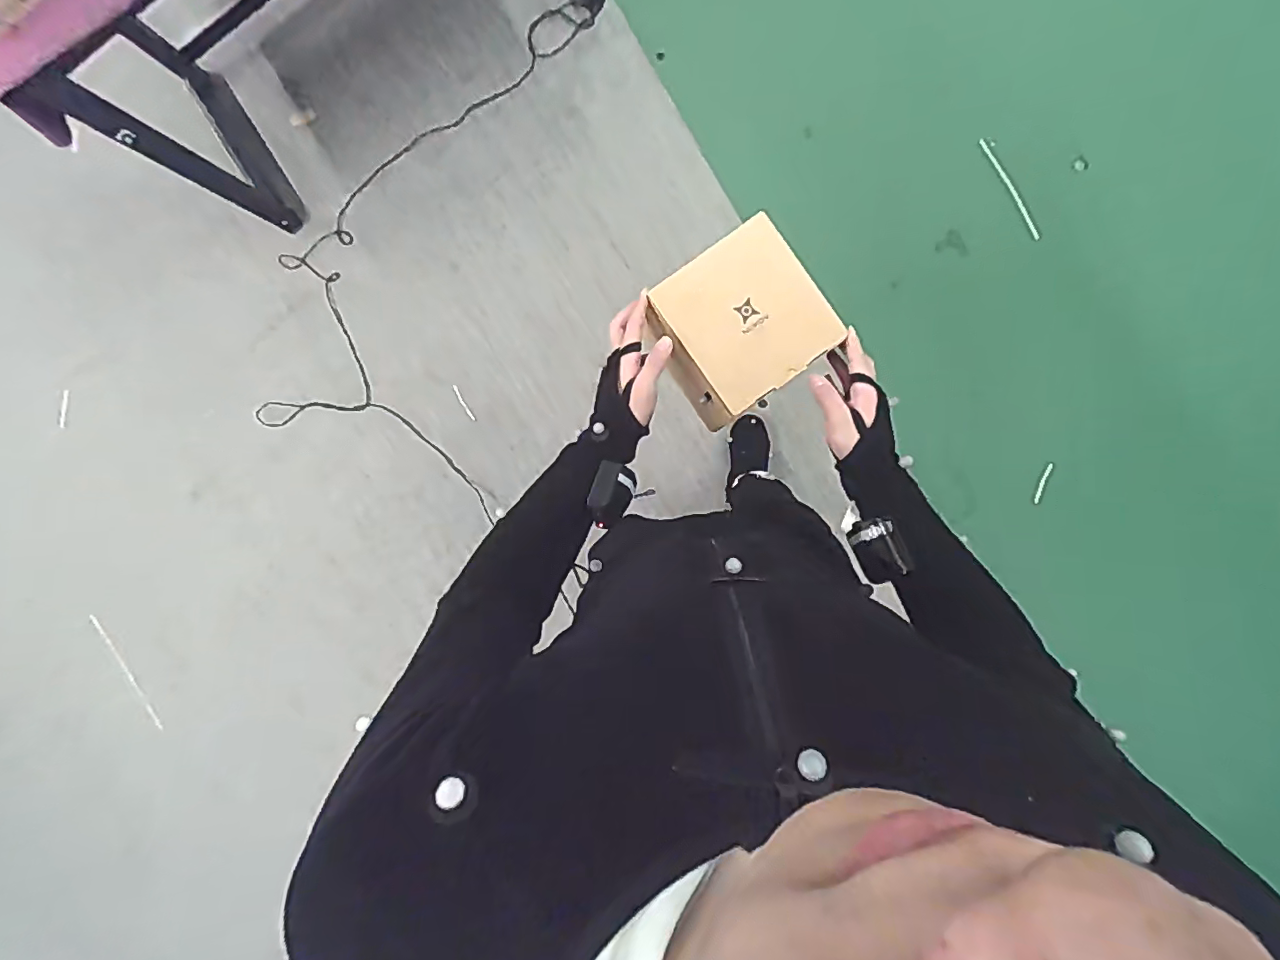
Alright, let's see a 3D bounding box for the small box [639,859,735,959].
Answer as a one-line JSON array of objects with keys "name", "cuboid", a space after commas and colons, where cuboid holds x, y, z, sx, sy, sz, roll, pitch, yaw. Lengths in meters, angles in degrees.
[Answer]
[{"name": "small box", "cuboid": [0.108, 0.992, 1.214, 0.168, 0.176, 0.179, -18, 92, 9]}]
